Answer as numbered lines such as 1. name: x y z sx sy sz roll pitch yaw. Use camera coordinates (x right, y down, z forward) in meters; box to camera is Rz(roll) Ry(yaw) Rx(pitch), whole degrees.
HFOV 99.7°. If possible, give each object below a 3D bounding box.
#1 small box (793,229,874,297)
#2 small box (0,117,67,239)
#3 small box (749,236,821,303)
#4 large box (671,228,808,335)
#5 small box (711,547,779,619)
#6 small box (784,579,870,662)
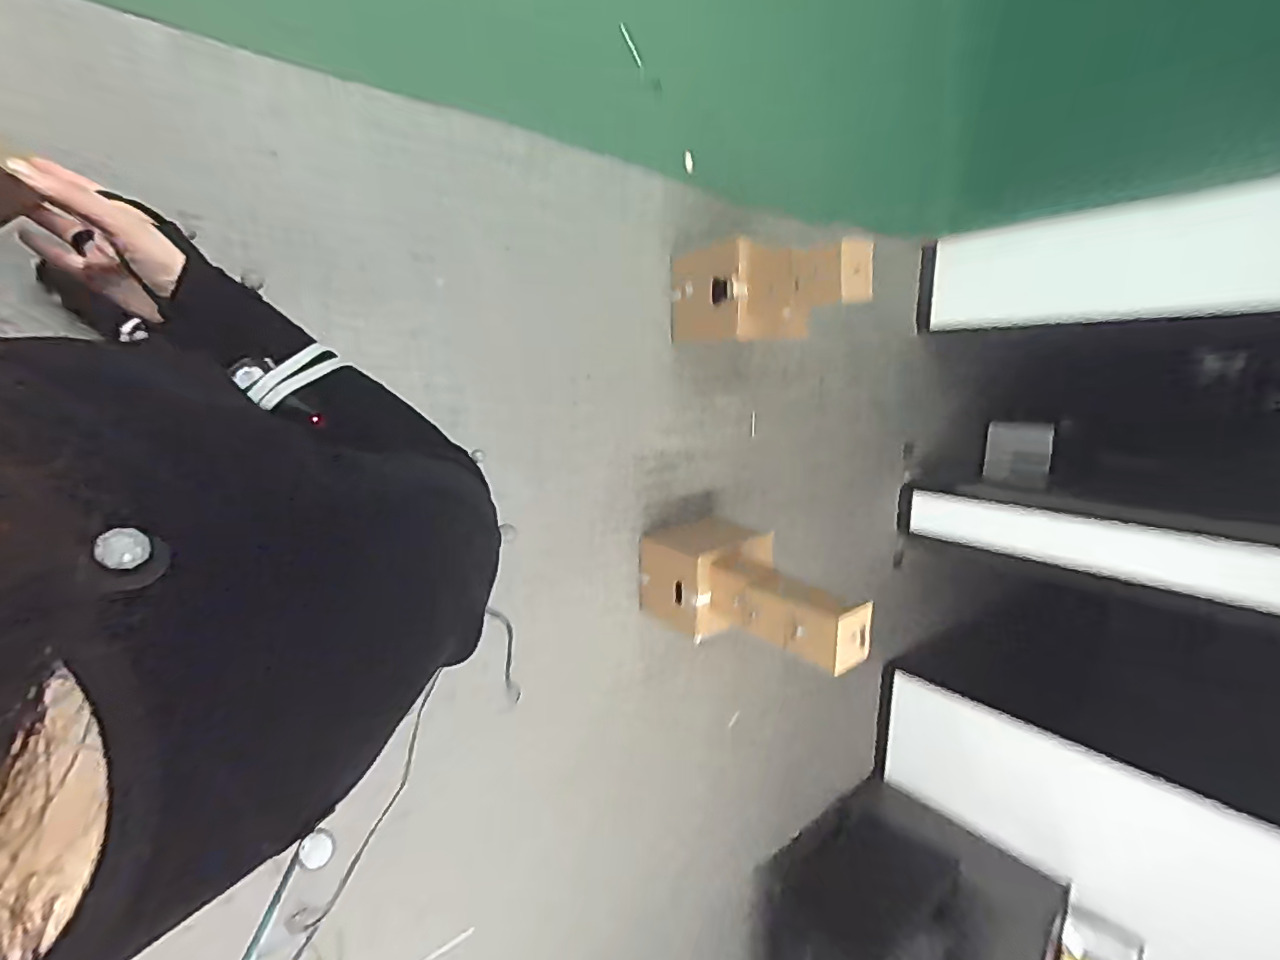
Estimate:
1. small box: 0.571 -0.638 1.604 0.179 0.176 0.168 -18 111 -37
2. small box: -0.468 -0.191 0.275 0.168 0.176 0.179 -44 128 -14
3. small box: 0.462 -0.663 1.724 0.168 0.176 0.179 -13 107 -39
4. large box: 0.361 -0.697 1.956 0.408 0.320 0.320 -12 107 -39
5. small box: 0.357 0.347 1.863 0.168 0.176 0.179 -13 107 -37
6. small box: 0.554 0.408 1.606 0.179 0.176 0.168 -9 104 -36
